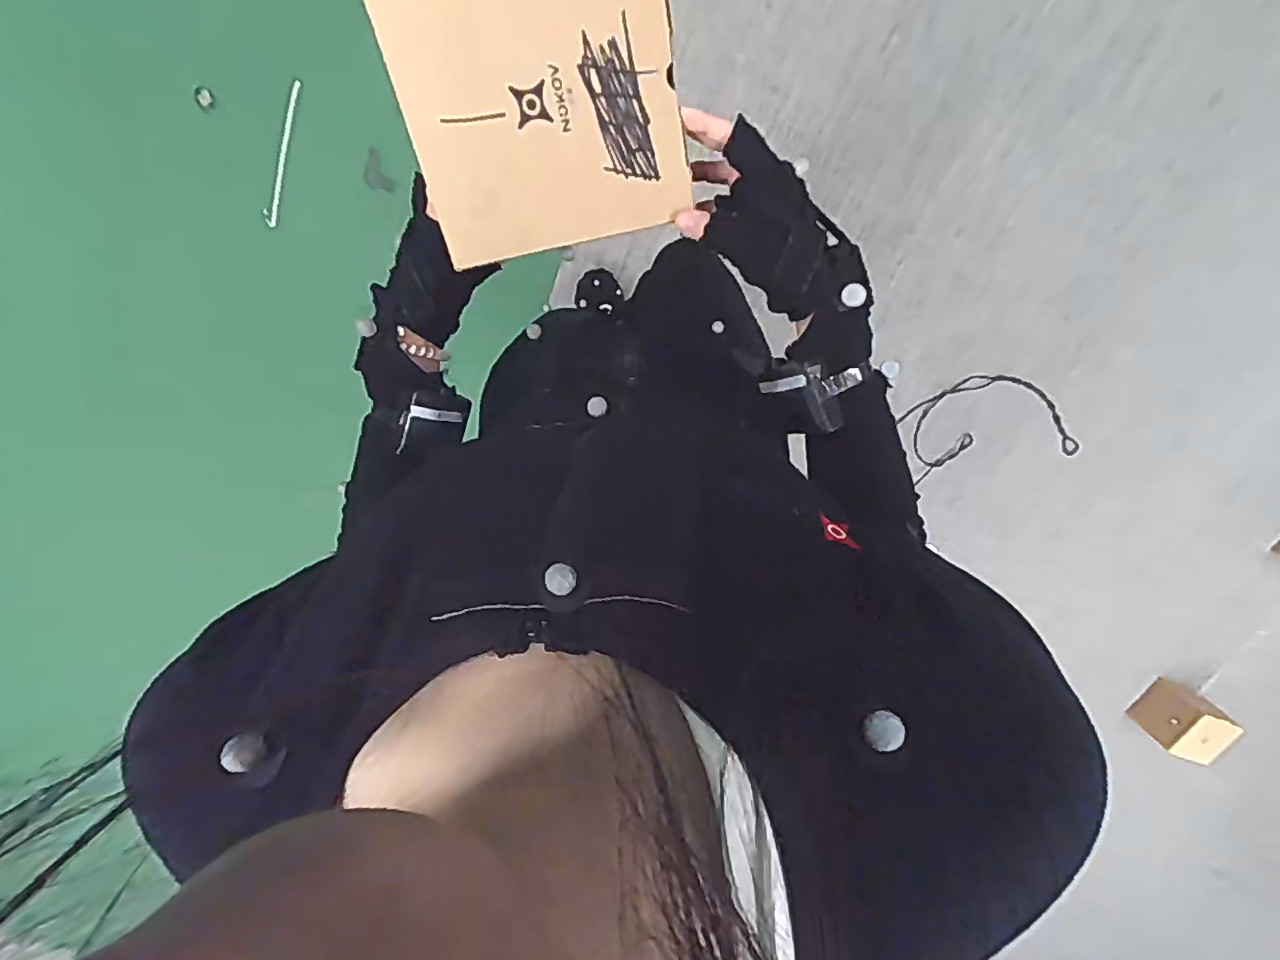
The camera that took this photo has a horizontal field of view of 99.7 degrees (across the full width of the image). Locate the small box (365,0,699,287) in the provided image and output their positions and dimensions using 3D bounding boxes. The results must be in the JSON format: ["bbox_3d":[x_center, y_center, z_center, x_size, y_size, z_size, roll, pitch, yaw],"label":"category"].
[{"bbox_3d":[-0.067,-0.257,0.408,0.179,0.176,0.168,-13,118,-2],"label":"small box"}]

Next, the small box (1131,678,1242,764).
[{"bbox_3d":[1.821,0.808,1.818,0.168,0.176,0.179,20,110,-8],"label":"small box"}]
